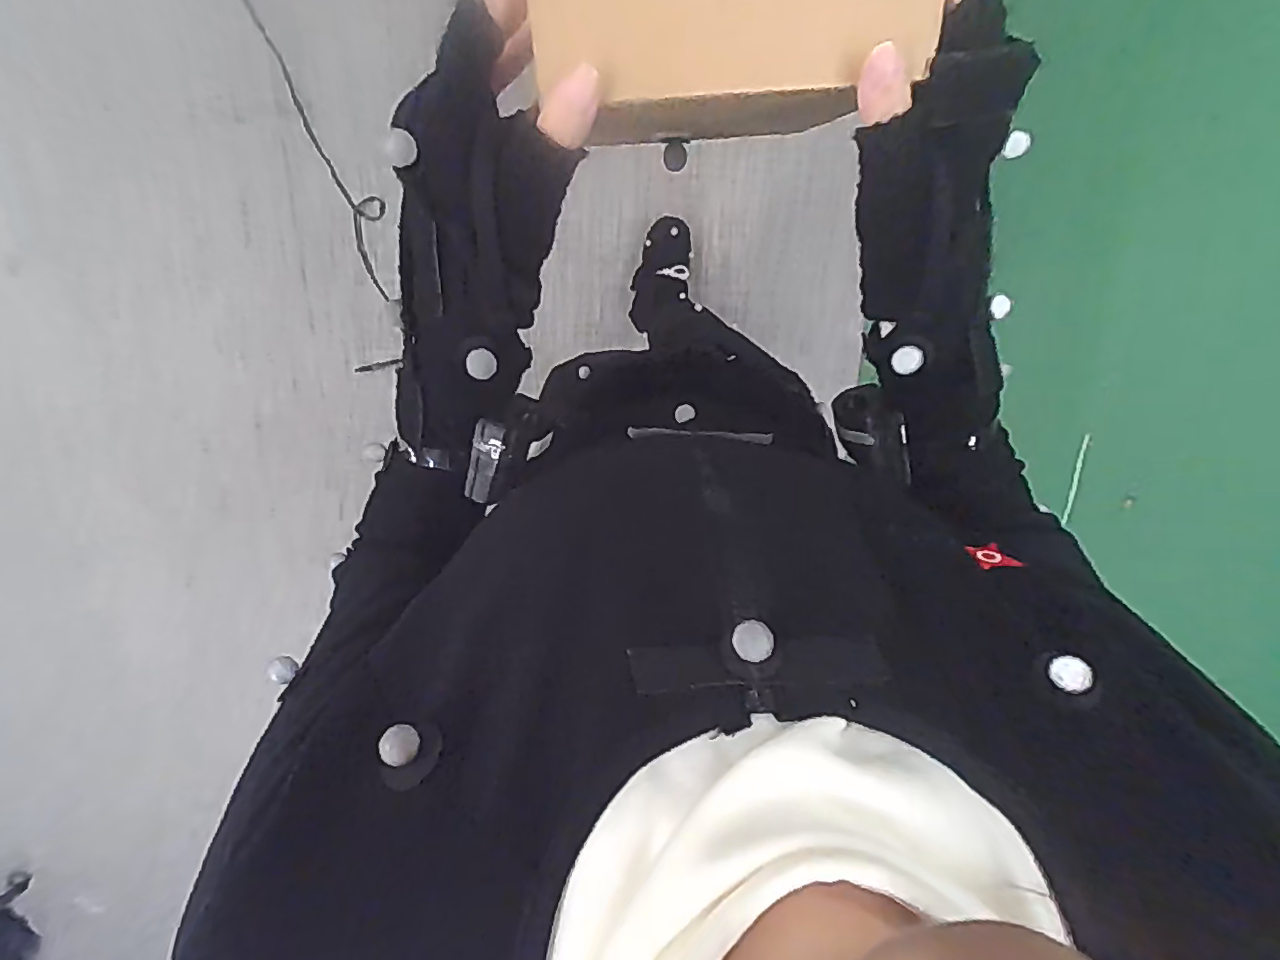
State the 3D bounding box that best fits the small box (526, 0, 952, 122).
[{"bbox_3d":[0.029,-0.282,0.243,0.168,0.176,0.179,-5,116,-2],"label":"small box"}]
